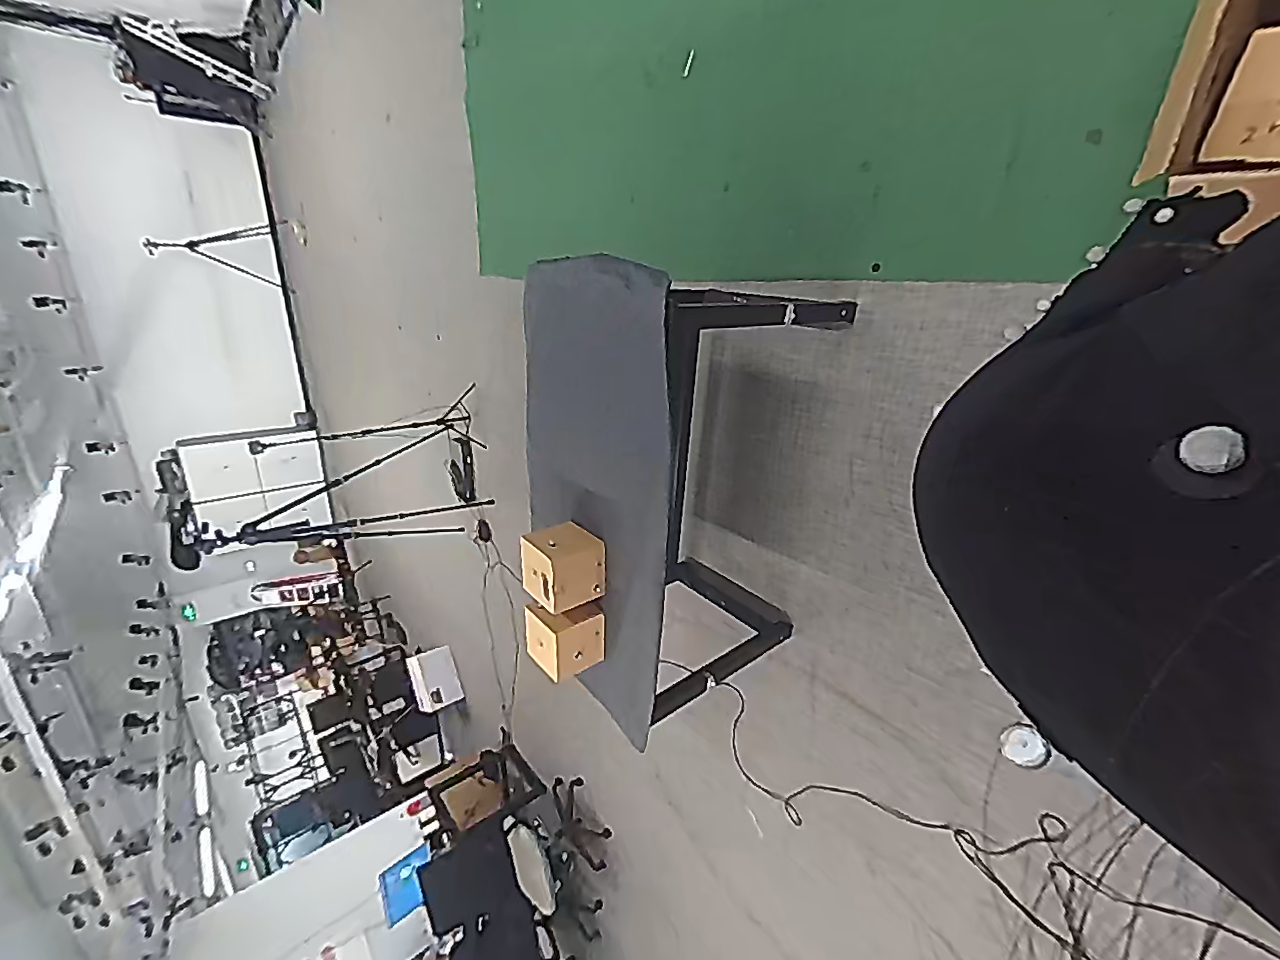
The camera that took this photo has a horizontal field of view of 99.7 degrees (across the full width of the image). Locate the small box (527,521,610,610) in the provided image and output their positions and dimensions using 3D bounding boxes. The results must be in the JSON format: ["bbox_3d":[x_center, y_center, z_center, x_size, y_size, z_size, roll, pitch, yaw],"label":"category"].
[{"bbox_3d":[-0.196,0.227,1.507,0.179,0.176,0.168,25,121,47],"label":"small box"}]

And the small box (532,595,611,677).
[{"bbox_3d":[-0.198,0.436,1.587,0.179,0.176,0.168,24,121,47],"label":"small box"}]
